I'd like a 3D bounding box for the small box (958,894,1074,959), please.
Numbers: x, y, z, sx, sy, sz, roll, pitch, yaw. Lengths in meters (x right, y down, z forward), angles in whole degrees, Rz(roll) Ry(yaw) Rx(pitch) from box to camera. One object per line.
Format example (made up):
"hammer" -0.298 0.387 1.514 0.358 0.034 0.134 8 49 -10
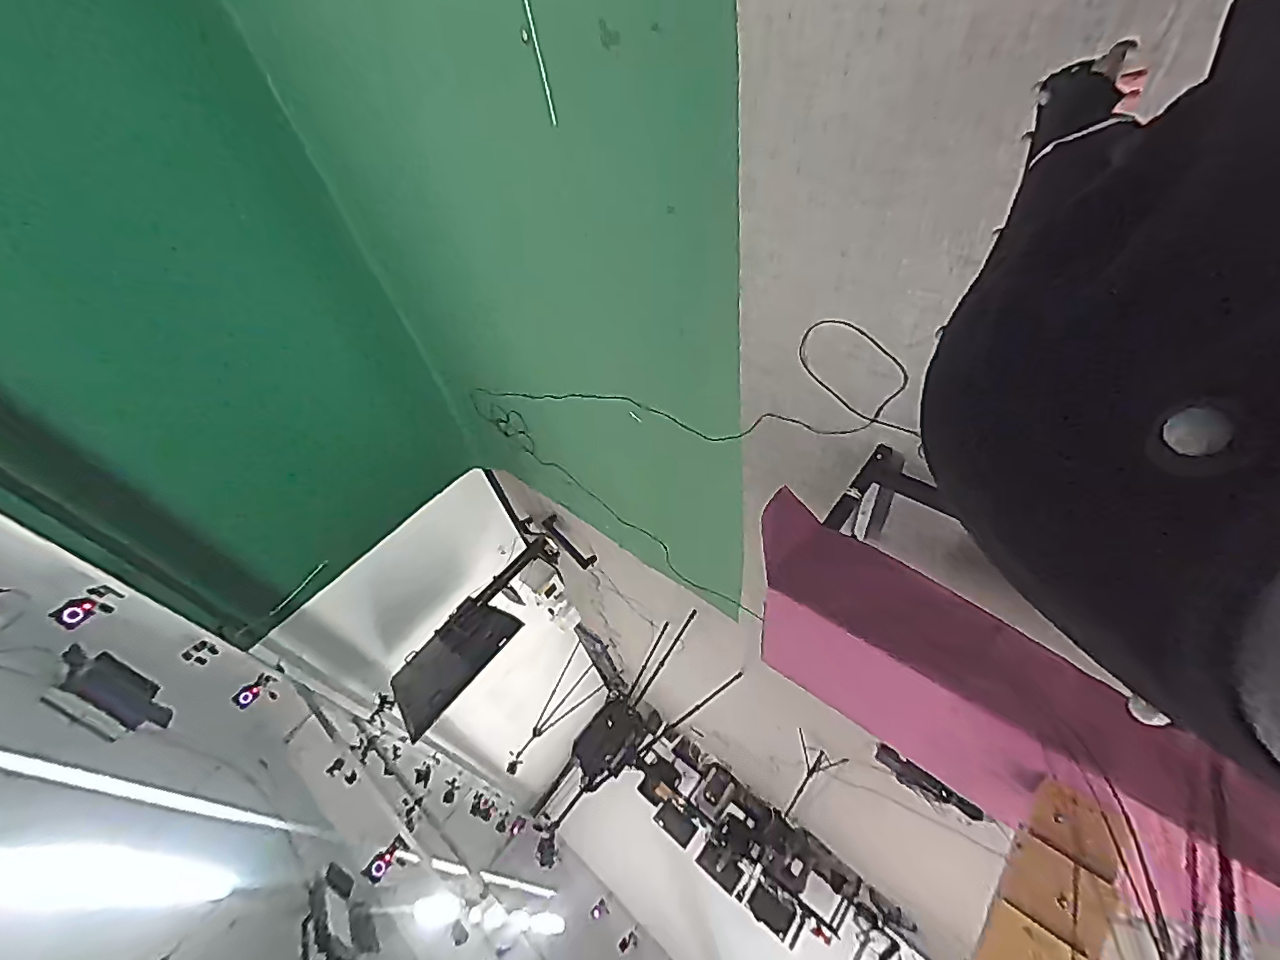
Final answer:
"small box" 0.805 1.045 1.170 0.168 0.176 0.179 24 148 40

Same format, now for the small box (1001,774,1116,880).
"small box" 1.027 0.863 1.329 0.168 0.176 0.179 27 150 36

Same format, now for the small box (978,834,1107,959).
"small box" 0.919 0.952 1.241 0.179 0.176 0.168 26 149 36
